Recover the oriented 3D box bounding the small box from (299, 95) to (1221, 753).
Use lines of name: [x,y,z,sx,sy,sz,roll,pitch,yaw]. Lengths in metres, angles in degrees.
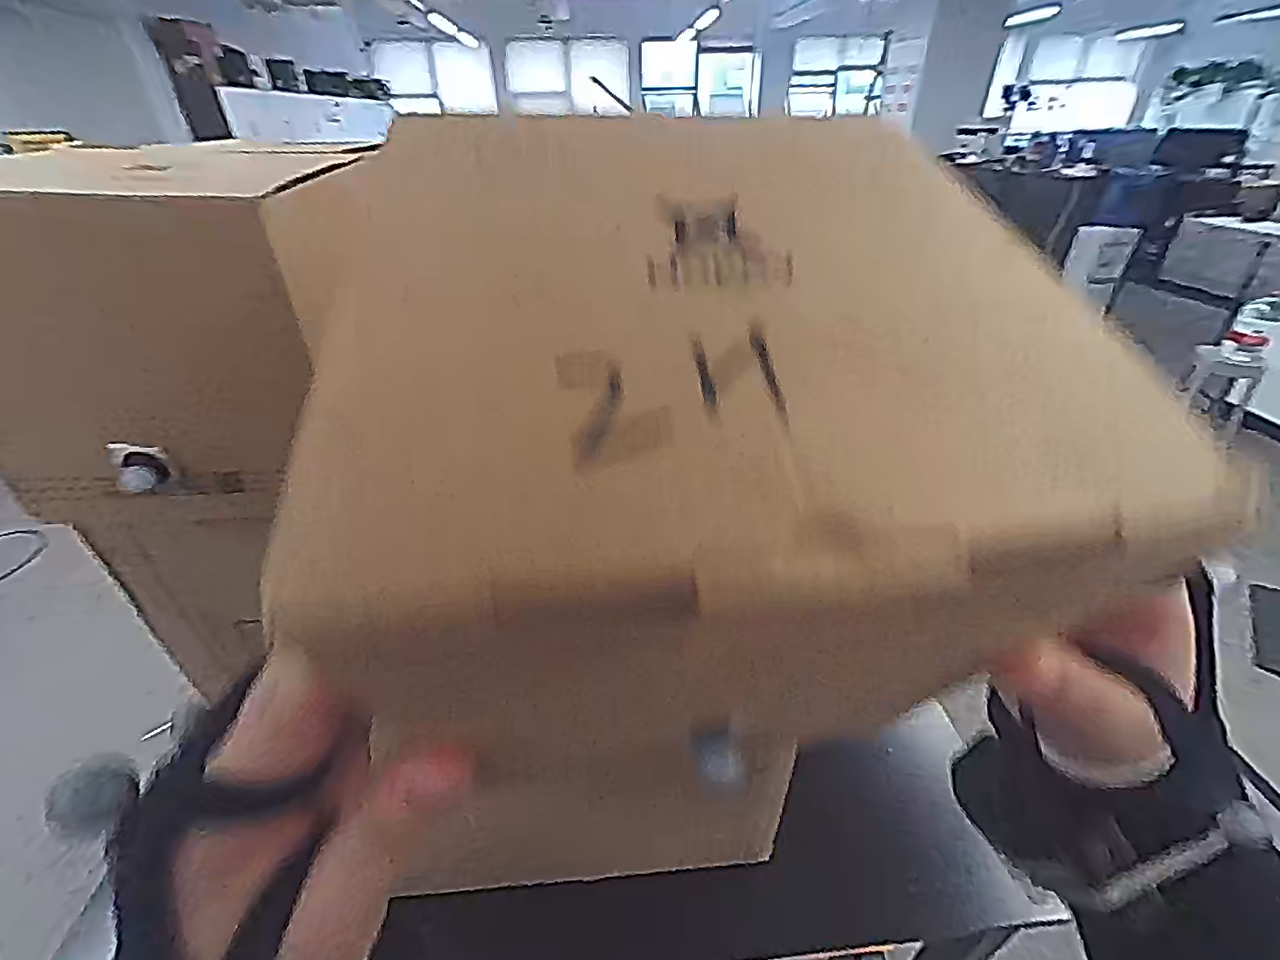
small box: [0.013,-0.016,0.204,0.168,0.176,0.179,-6,55,-6]
